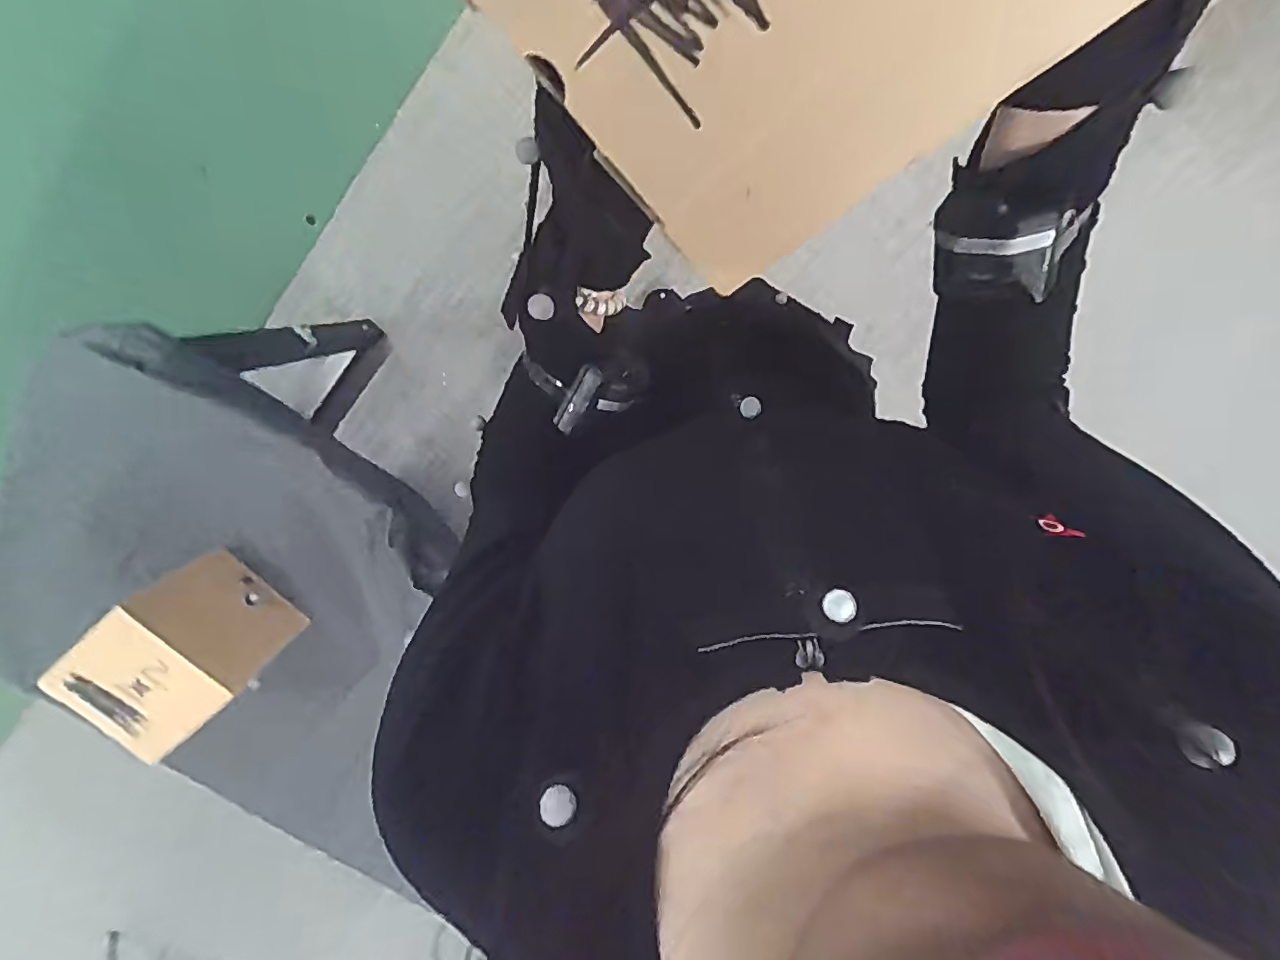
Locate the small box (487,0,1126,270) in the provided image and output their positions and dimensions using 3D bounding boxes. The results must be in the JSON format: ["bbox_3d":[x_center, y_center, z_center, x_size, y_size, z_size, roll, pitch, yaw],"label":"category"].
[{"bbox_3d":[0.052,-0.206,0.151,0.179,0.176,0.168,-24,127,41],"label":"small box"}]
